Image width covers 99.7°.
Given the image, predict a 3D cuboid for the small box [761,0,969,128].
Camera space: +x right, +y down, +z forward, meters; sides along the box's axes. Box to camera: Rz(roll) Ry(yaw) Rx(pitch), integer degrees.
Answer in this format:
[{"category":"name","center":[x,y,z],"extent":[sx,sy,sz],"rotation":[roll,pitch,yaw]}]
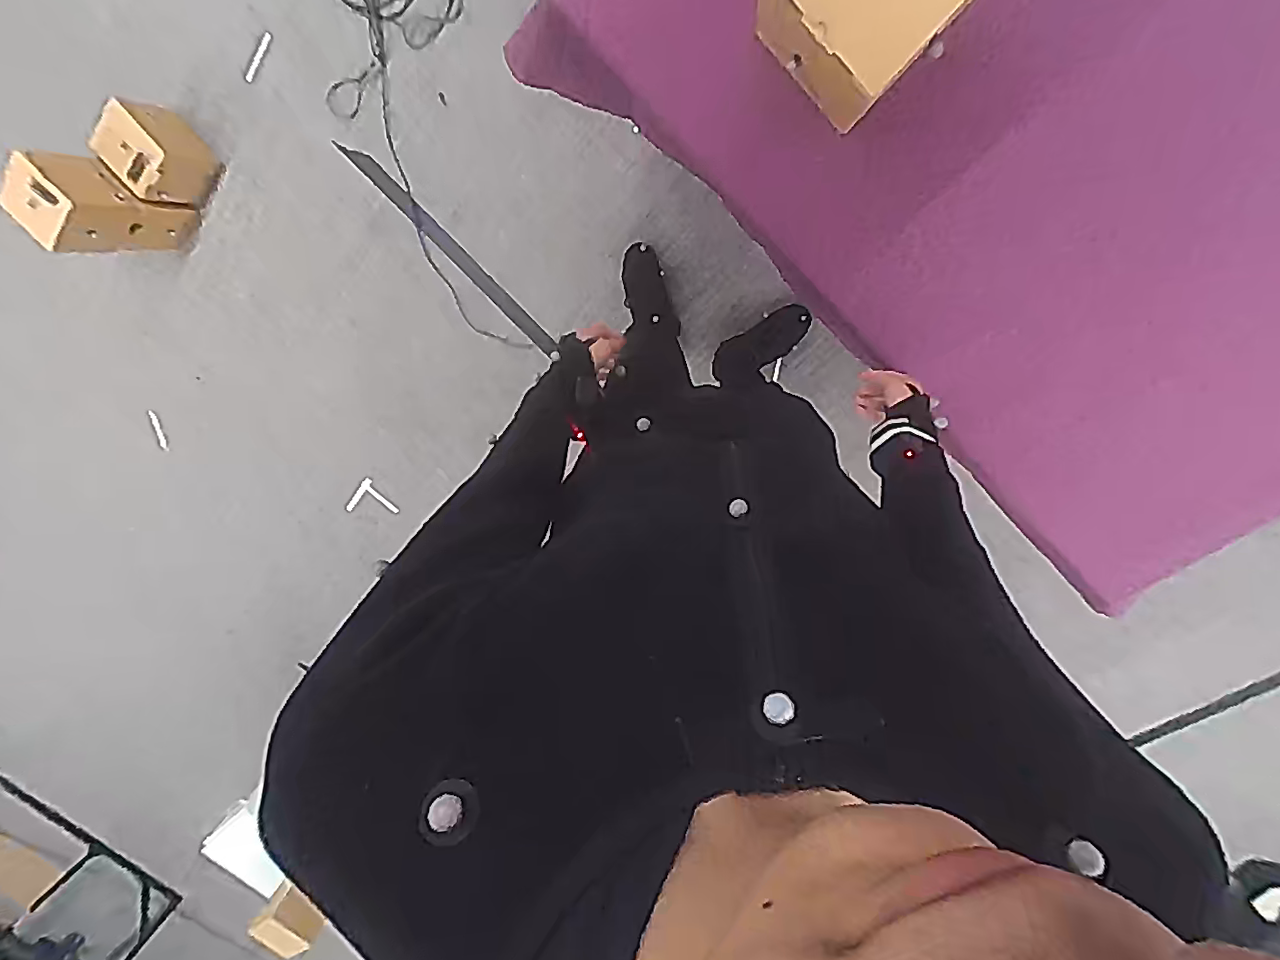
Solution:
[{"category":"small box","center":[0.242,-0.517,0.567],"extent":[0.168,0.176,0.179],"rotation":[43,114,-9]}]

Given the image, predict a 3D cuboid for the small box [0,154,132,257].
[{"category":"small box","center":[-1.501,-0.712,1.418],"extent":[0.179,0.176,0.168],"rotation":[-37,102,23]}]

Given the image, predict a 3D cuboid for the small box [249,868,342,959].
[{"category":"small box","center":[-1.138,1.442,1.799],"extent":[0.179,0.176,0.168],"rotation":[-40,102,23]}]
